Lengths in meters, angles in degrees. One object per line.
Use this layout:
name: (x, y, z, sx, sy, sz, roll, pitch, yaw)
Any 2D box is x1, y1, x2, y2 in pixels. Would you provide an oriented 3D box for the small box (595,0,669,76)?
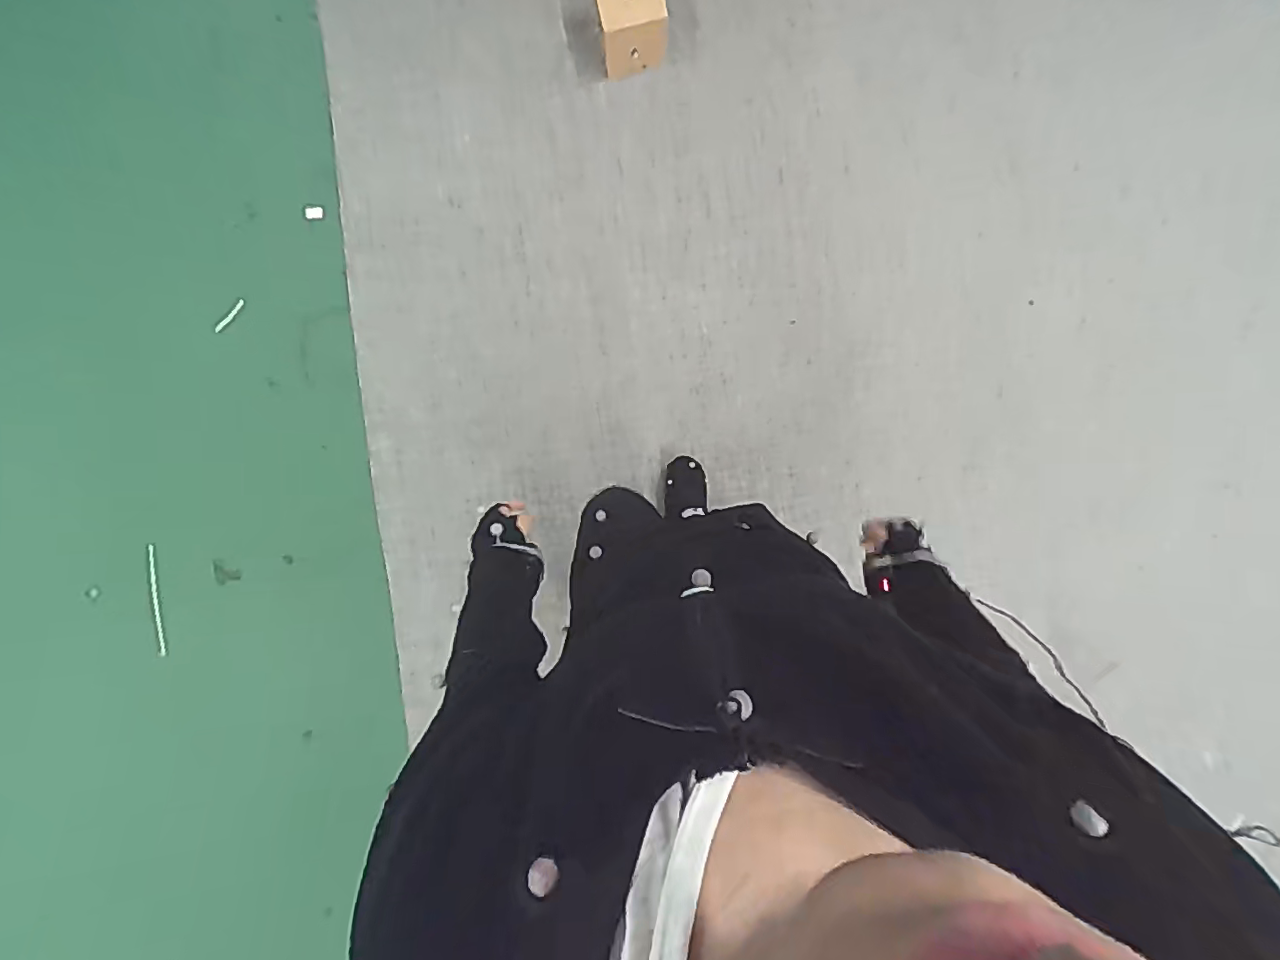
small box: (-0.022, -1.207, 1.419, 0.168, 0.176, 0.179, -13, 90, 1)
